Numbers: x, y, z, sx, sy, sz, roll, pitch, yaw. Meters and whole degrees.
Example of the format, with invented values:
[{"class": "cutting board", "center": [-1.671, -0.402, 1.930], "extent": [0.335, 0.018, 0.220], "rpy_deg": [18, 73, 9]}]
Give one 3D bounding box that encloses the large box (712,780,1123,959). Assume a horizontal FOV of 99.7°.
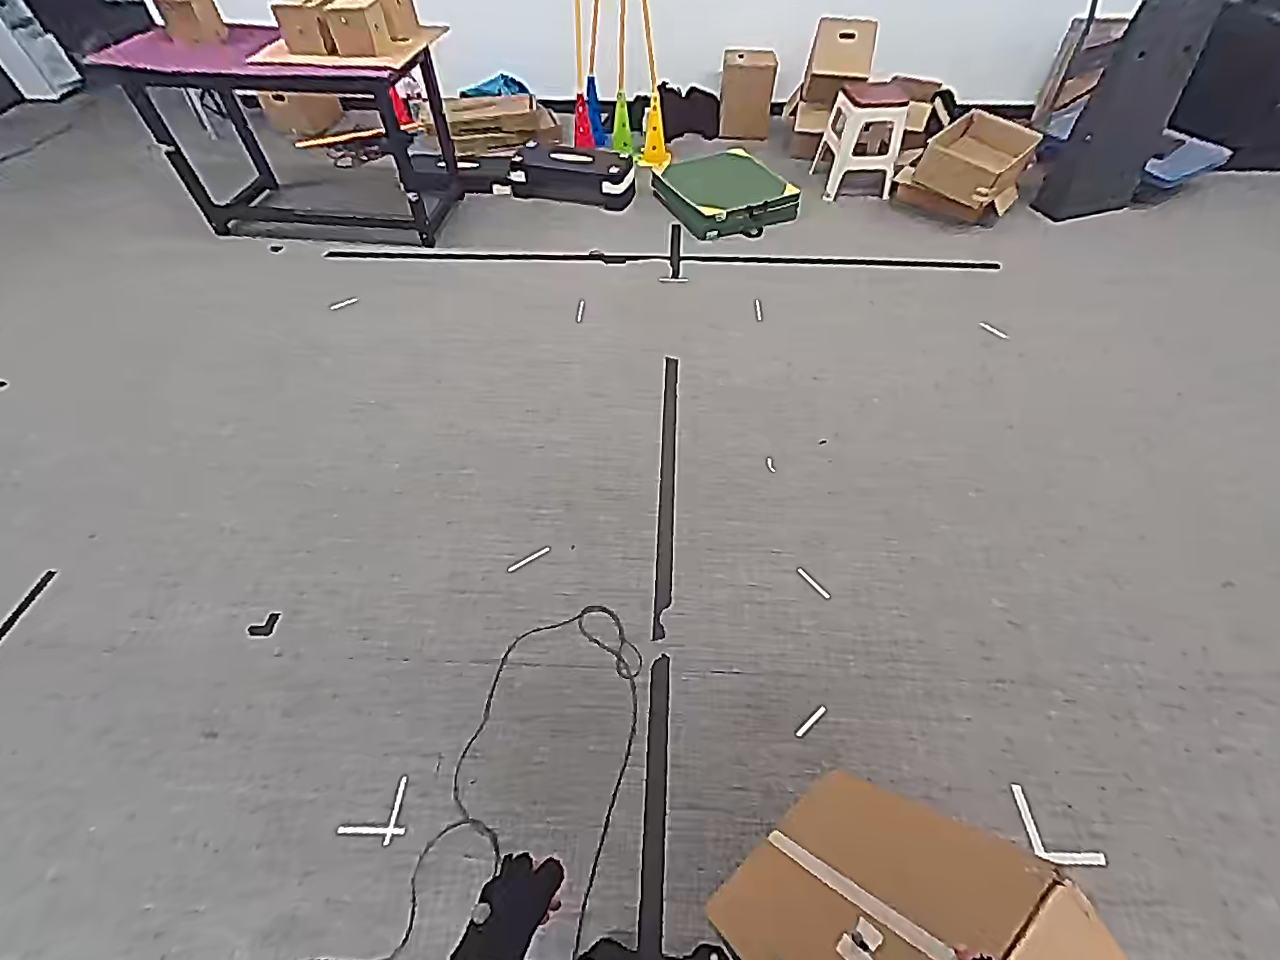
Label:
[{"class": "large box", "center": [0.366, 0.675, 0.701], "extent": [0.320, 0.408, 0.320], "rpy_deg": [-32, 88, -22]}]
